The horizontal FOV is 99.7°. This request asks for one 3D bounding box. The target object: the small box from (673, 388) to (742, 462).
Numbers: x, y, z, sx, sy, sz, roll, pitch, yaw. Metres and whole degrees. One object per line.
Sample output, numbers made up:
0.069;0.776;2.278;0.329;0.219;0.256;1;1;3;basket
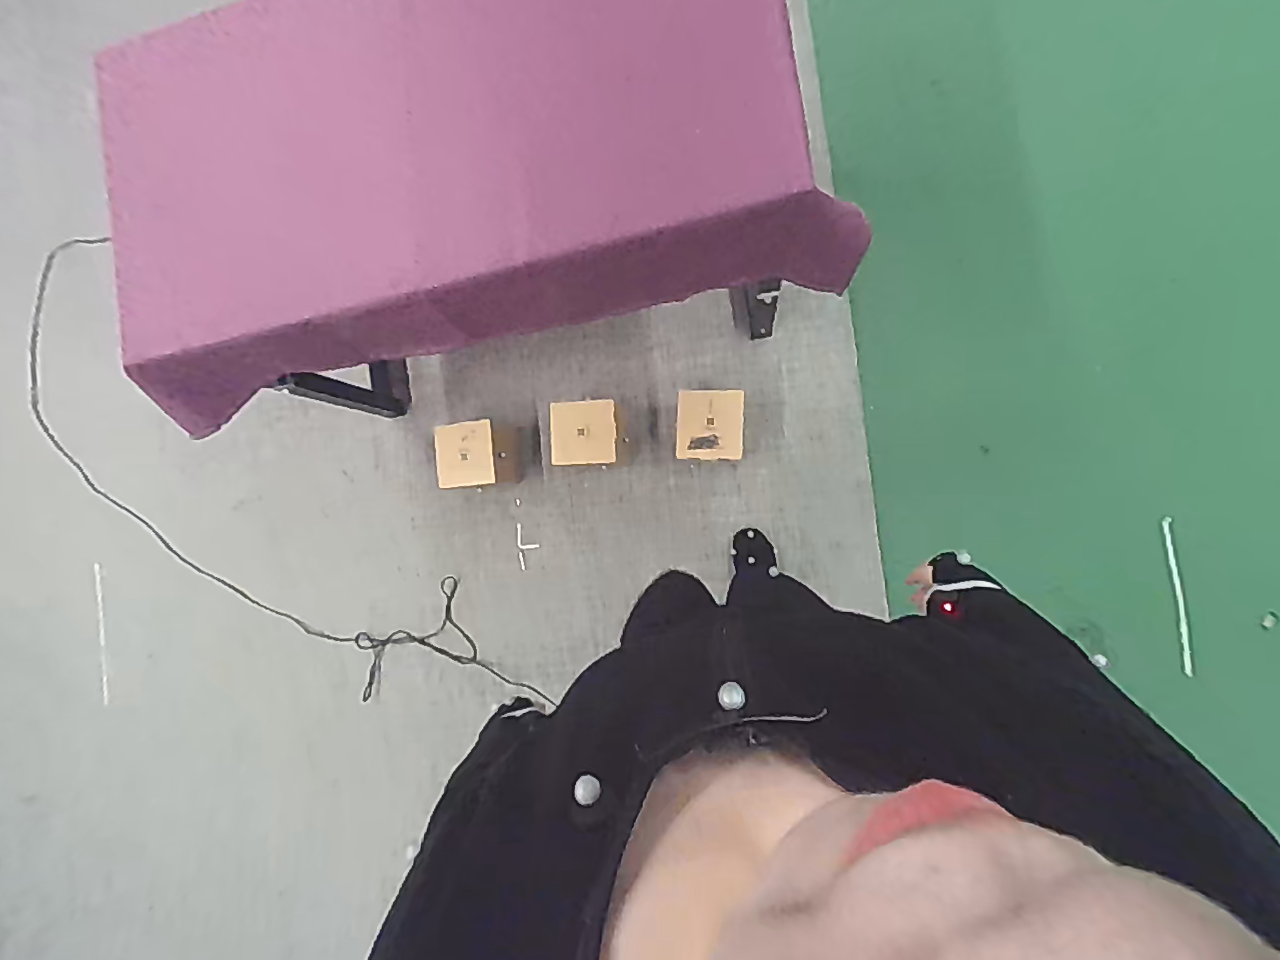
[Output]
0.182;-0.140;1.423;0.168;0.176;0.179;2;87;10;small box
